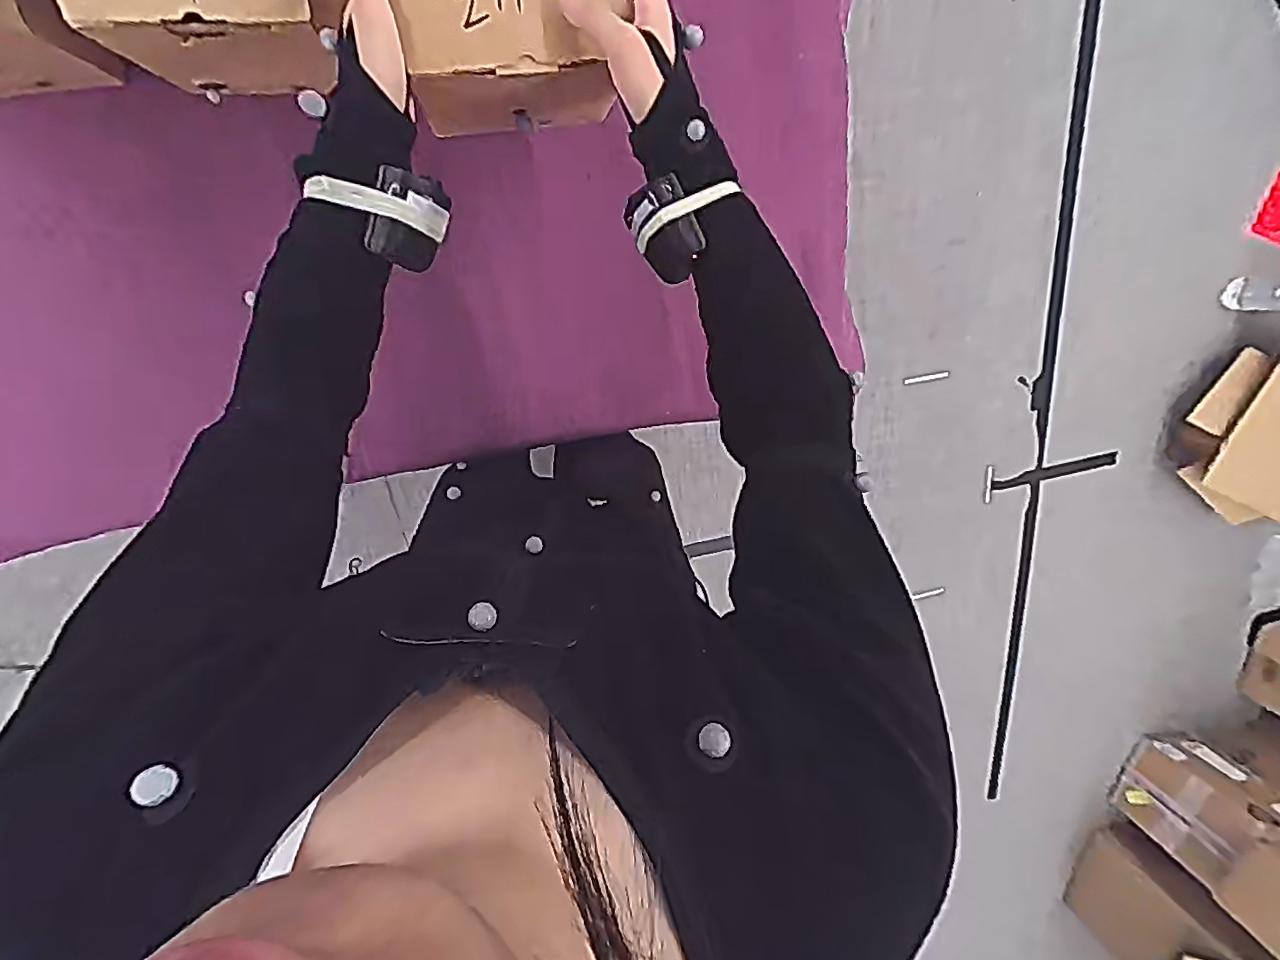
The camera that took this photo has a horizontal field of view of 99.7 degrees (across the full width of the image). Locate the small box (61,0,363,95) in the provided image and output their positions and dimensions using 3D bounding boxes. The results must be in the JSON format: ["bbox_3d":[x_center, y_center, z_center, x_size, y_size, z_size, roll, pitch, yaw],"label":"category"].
[{"bbox_3d":[-0.348,-0.438,0.442,0.168,0.176,0.179,-8,111,-11],"label":"small box"}]

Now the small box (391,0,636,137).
[{"bbox_3d":[-0.110,-0.397,0.427,0.168,0.176,0.179,-12,112,-10],"label":"small box"}]
